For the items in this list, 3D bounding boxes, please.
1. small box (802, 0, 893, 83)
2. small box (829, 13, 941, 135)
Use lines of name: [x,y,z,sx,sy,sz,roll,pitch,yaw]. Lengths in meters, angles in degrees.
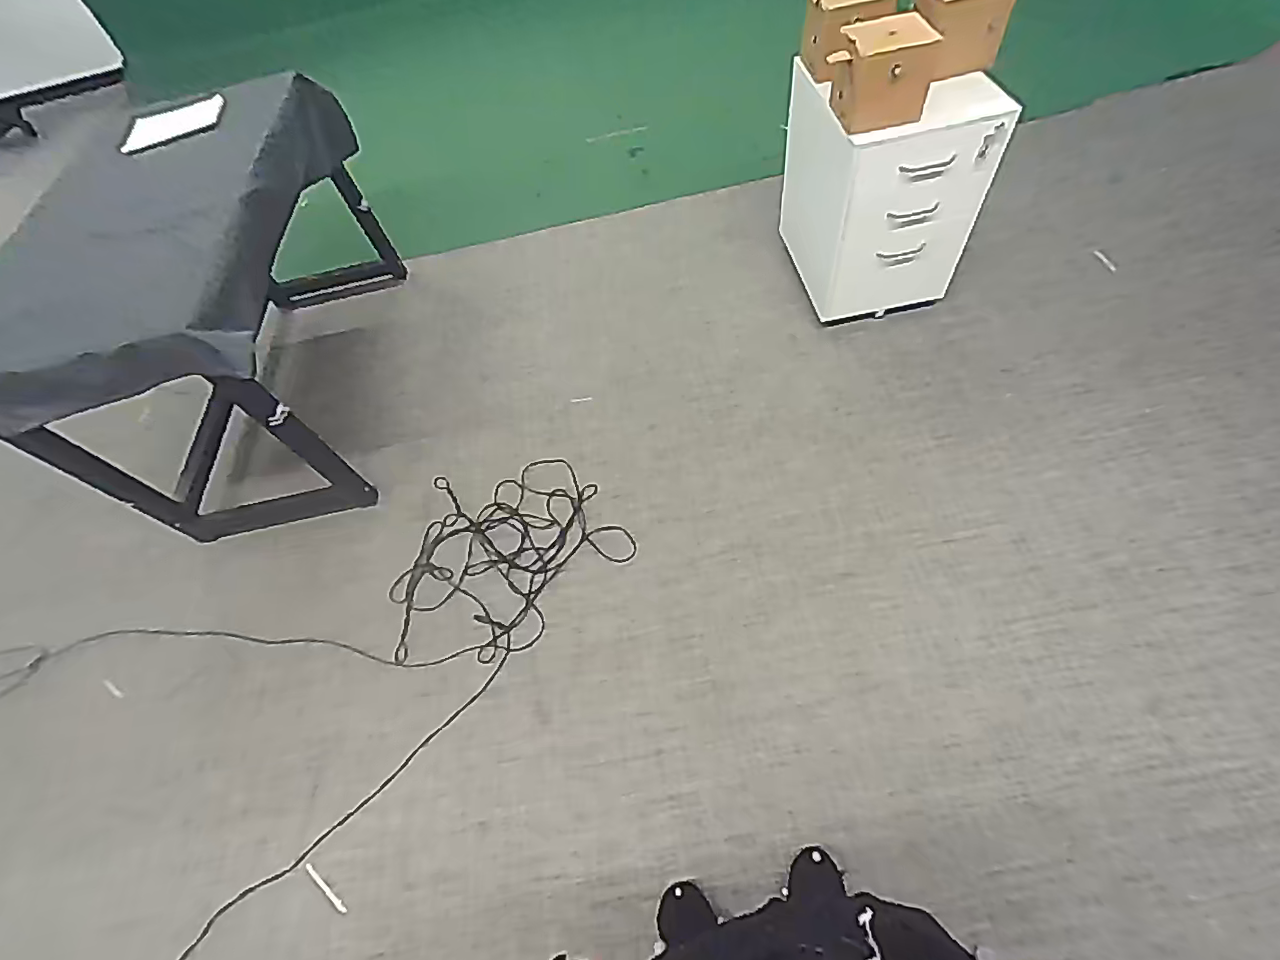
small box: [0.537,-1.185,1.428,0.179,0.176,0.168,-9,59,2]
small box: [0.569,-0.955,1.280,0.179,0.176,0.168,-10,57,3]
